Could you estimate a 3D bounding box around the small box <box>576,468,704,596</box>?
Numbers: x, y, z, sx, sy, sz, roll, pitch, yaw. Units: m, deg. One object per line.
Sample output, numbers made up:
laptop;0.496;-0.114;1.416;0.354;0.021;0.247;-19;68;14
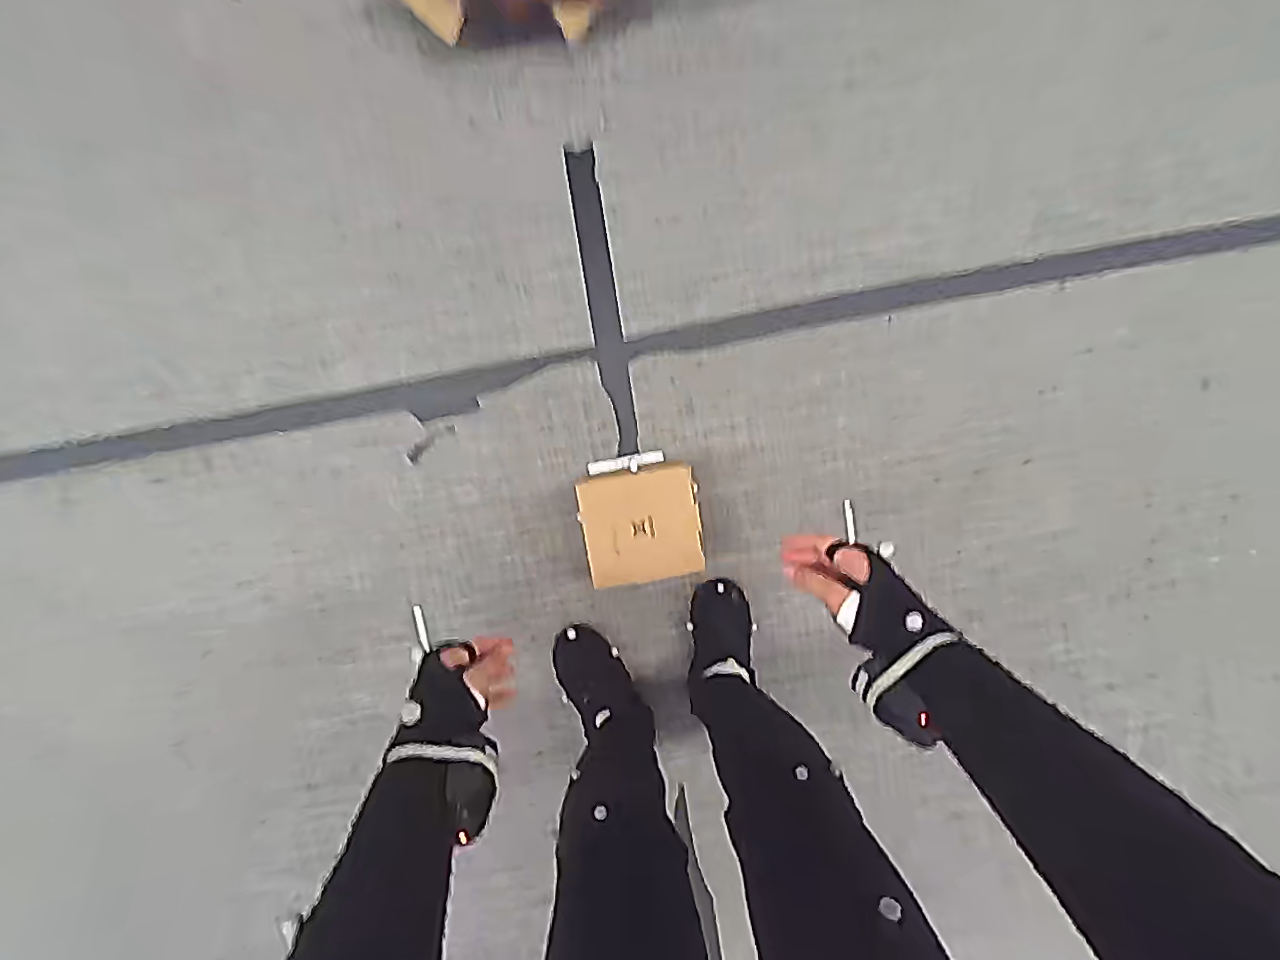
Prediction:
small box;-0.003;0.077;0.900;0.179;0.176;0.168;-11;95;-1
